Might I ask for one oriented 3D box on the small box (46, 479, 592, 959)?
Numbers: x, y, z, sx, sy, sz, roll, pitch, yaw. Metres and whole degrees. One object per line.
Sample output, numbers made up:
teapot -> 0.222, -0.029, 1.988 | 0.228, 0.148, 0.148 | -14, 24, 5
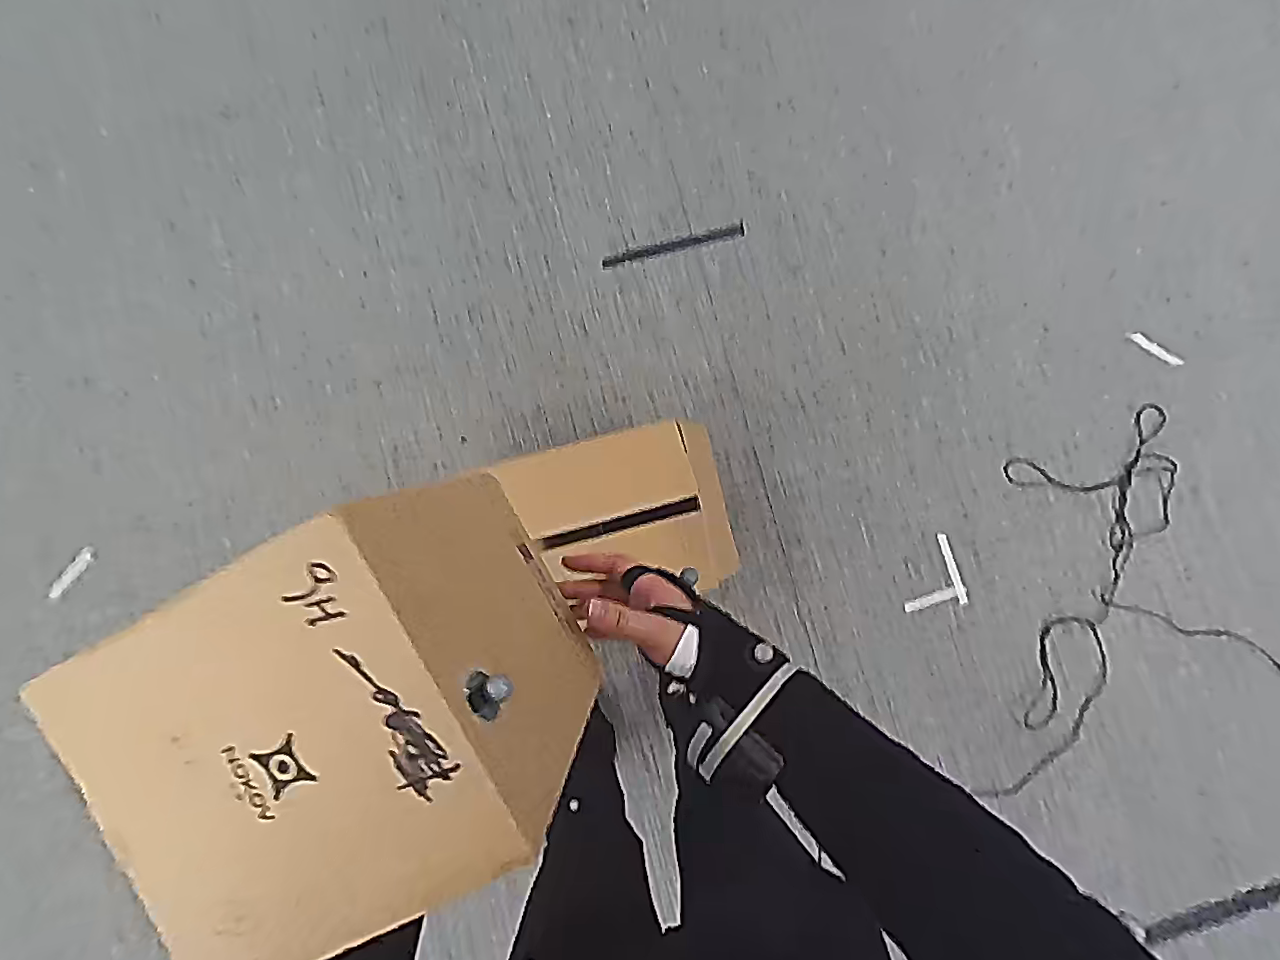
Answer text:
small box -> -0.150, 0.114, 0.316 | 0.179, 0.176, 0.168 | -29, 93, 8
